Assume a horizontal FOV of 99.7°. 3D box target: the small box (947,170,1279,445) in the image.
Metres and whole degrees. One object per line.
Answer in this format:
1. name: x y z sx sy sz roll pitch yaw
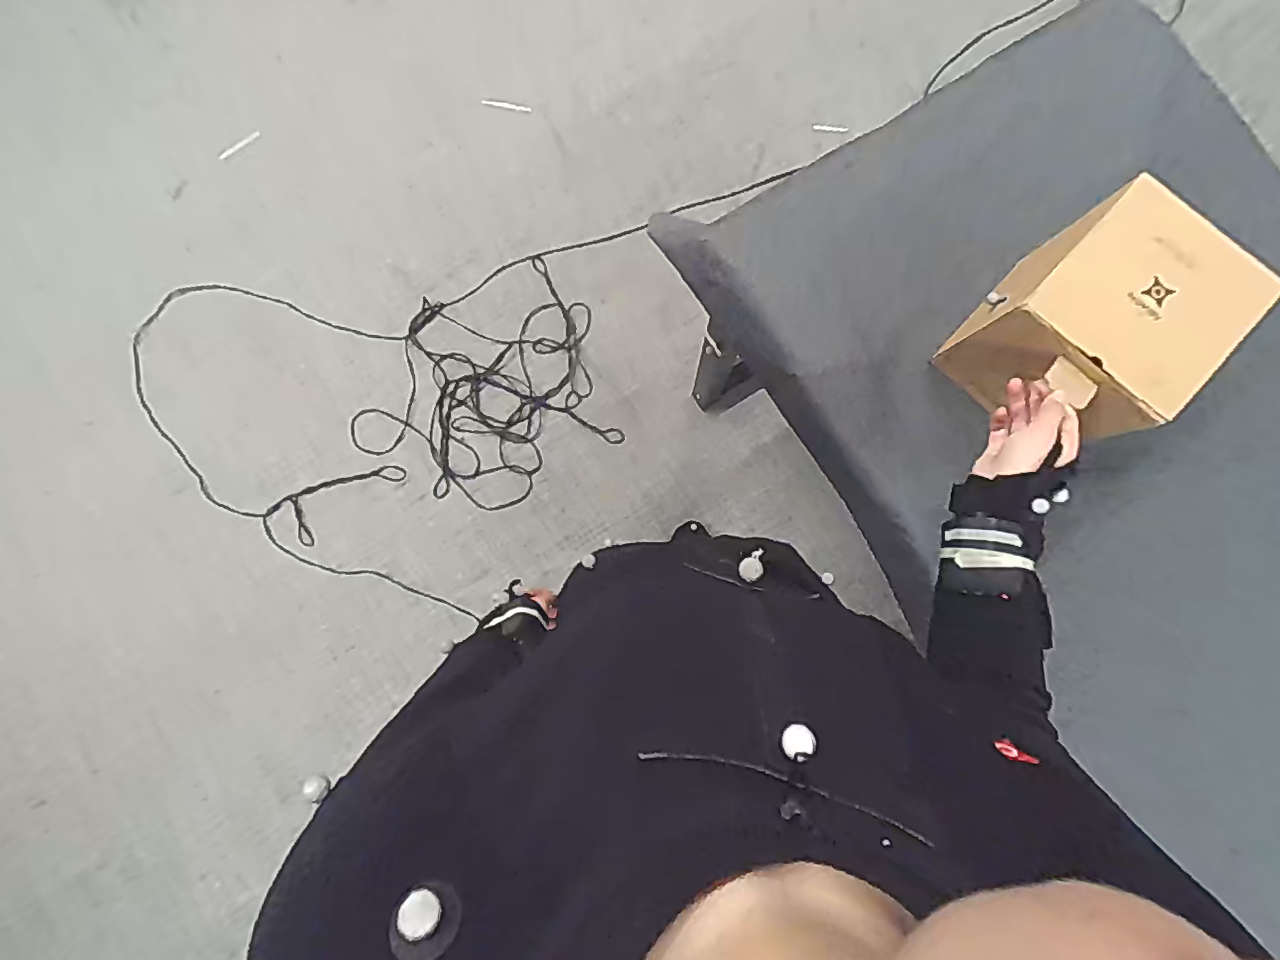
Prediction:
1. small box: 0.458 -0.156 0.556 0.168 0.176 0.179 42 85 4
